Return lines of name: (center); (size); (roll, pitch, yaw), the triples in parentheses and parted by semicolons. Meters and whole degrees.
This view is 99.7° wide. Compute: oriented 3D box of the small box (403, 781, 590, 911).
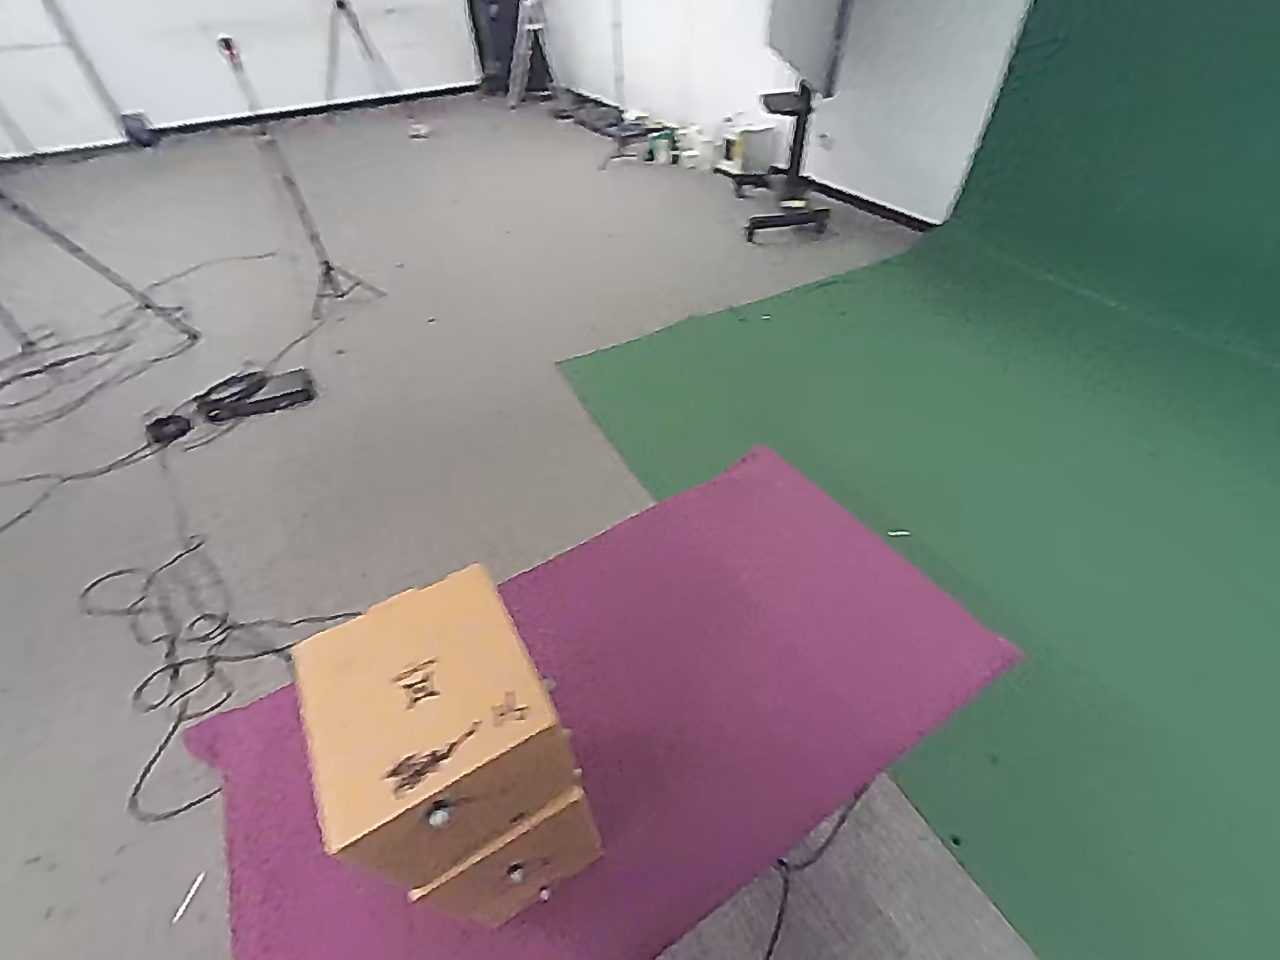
small box: (-0.166, 0.335, 0.596); (0.168, 0.176, 0.179); (-23, 49, -19)

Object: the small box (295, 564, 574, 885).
small box: (-0.174, 0.215, 0.484); (0.168, 0.176, 0.179); (-25, 49, -20)
